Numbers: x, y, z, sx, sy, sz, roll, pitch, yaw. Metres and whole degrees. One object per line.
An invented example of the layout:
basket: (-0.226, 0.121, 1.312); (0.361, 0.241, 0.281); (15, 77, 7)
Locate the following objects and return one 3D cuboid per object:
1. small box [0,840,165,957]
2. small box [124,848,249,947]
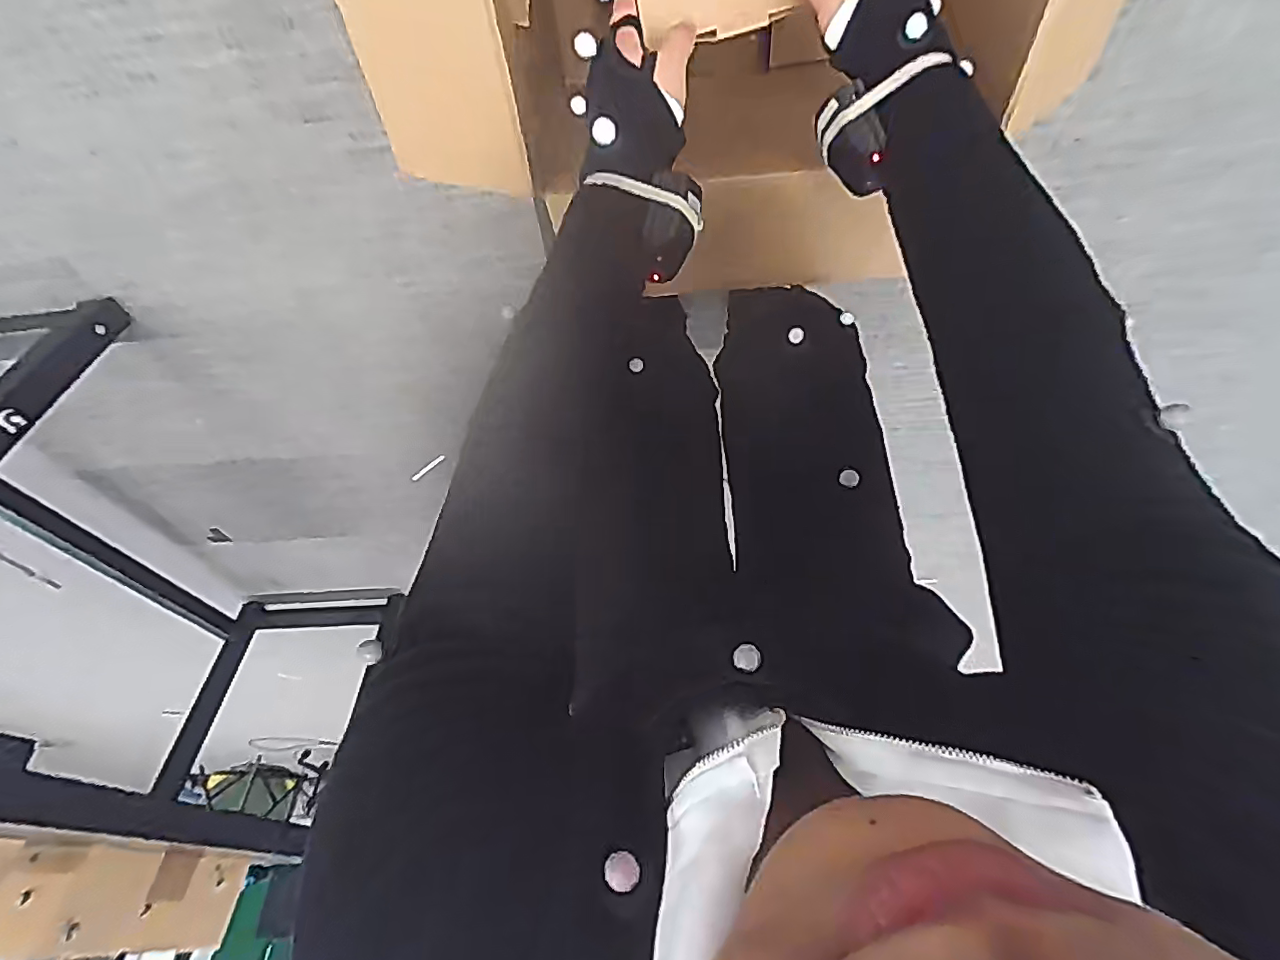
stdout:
small box: (-1.085, 0.794, 1.031); (0.168, 0.176, 0.179); (-3, 141, 5)
small box: (-1.056, 0.957, 1.240); (0.179, 0.176, 0.168); (-5, 142, 6)
